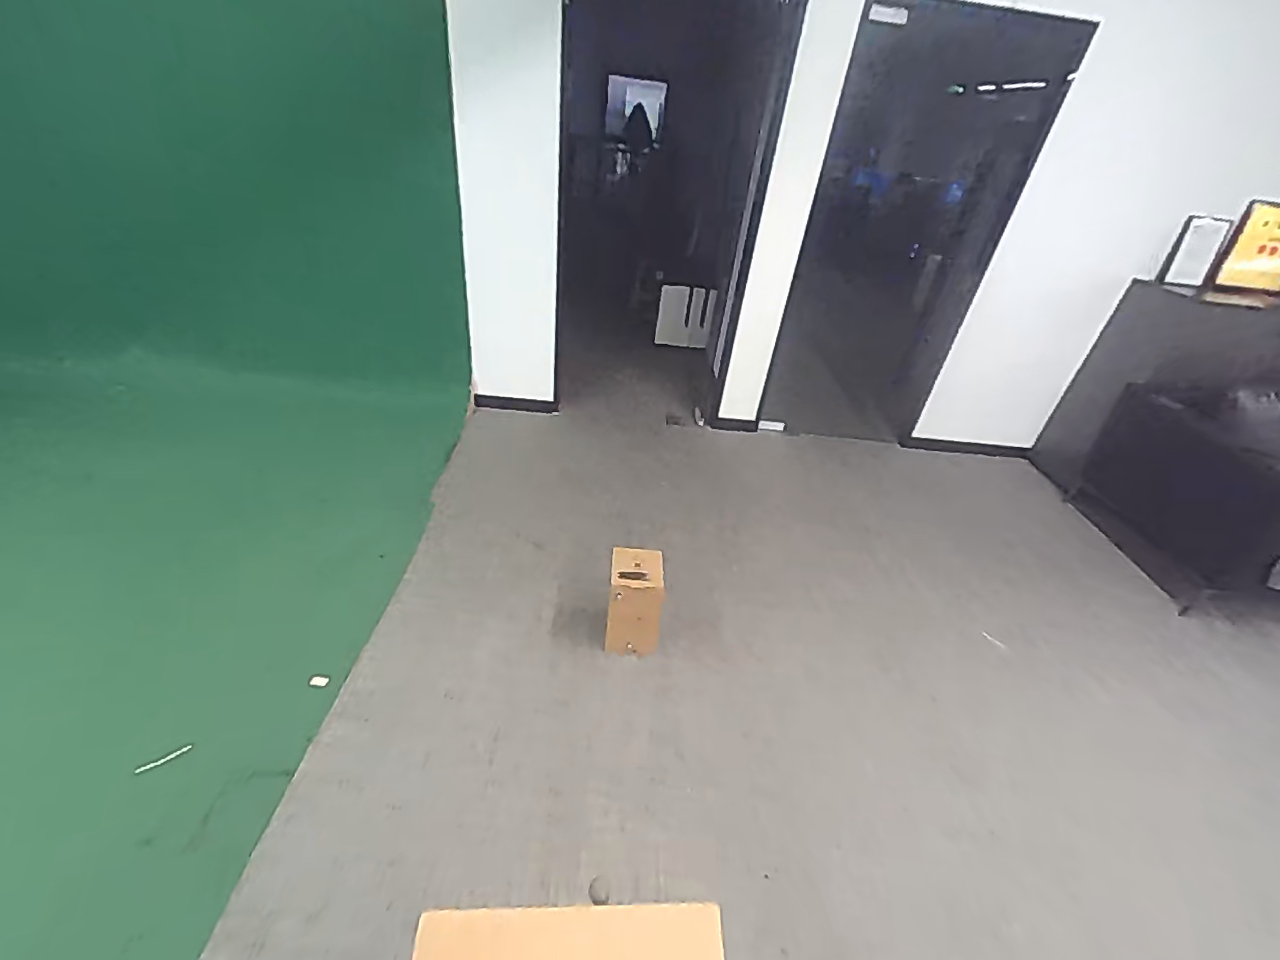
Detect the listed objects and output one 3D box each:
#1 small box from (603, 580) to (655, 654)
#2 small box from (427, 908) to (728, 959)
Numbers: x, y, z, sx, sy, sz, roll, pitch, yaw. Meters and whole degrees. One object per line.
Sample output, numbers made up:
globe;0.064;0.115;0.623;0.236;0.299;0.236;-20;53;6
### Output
small box;-0.039;0.474;1.874;0.168;0.176;0.179;5;36;-3
small box;-0.046;0.357;0.309;0.168;0.176;0.179;6;53;-9
